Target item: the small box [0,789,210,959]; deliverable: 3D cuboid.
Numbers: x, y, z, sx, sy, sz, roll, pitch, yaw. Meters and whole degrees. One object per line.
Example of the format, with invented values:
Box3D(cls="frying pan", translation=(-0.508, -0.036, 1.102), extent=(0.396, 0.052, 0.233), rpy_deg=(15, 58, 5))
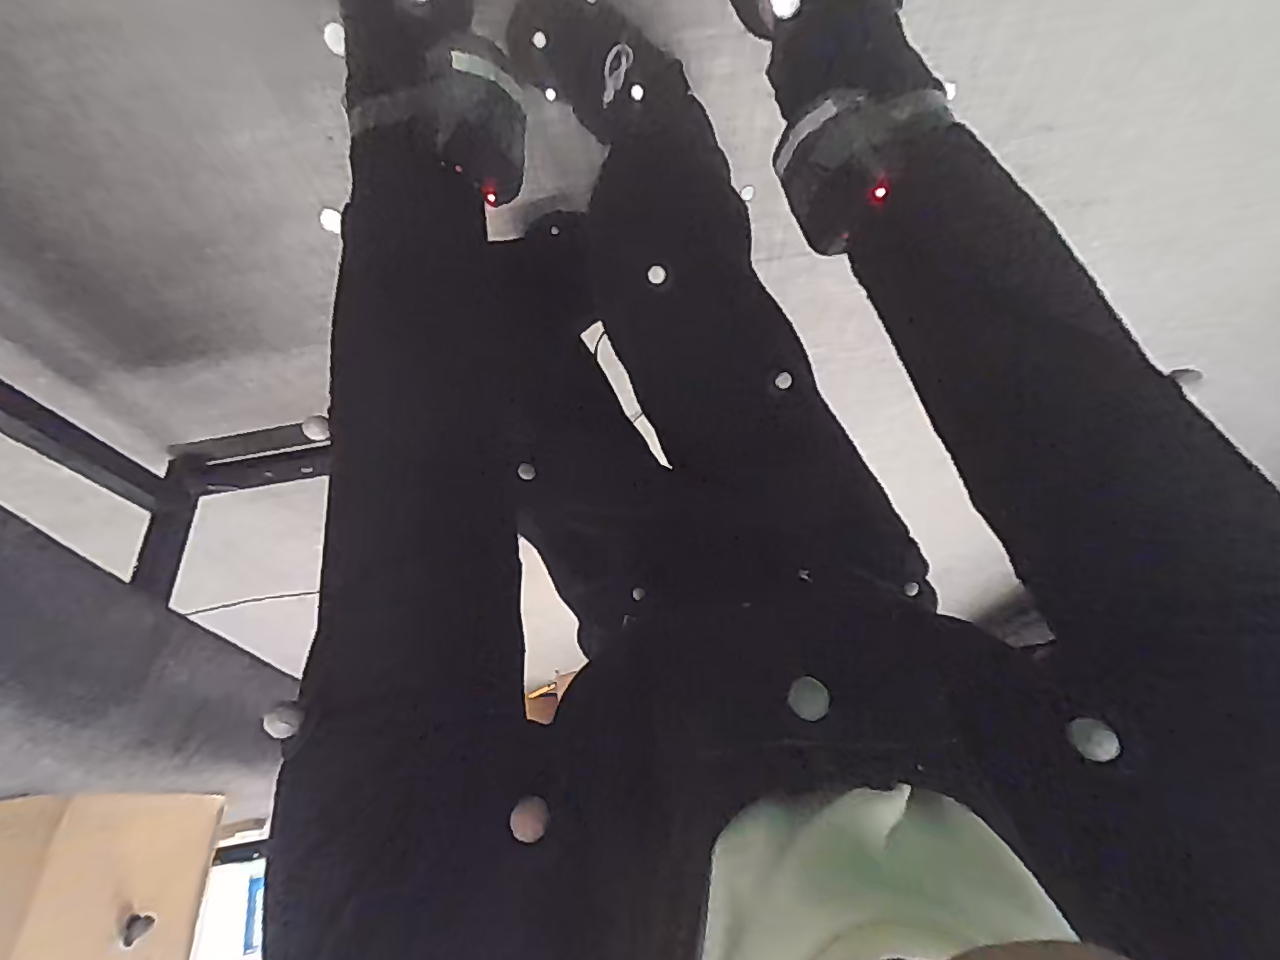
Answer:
Box3D(cls="small box", translation=(-0.495, 0.347, 0.426), extent=(0.168, 0.176, 0.179), rpy_deg=(-8, 149, -1))
